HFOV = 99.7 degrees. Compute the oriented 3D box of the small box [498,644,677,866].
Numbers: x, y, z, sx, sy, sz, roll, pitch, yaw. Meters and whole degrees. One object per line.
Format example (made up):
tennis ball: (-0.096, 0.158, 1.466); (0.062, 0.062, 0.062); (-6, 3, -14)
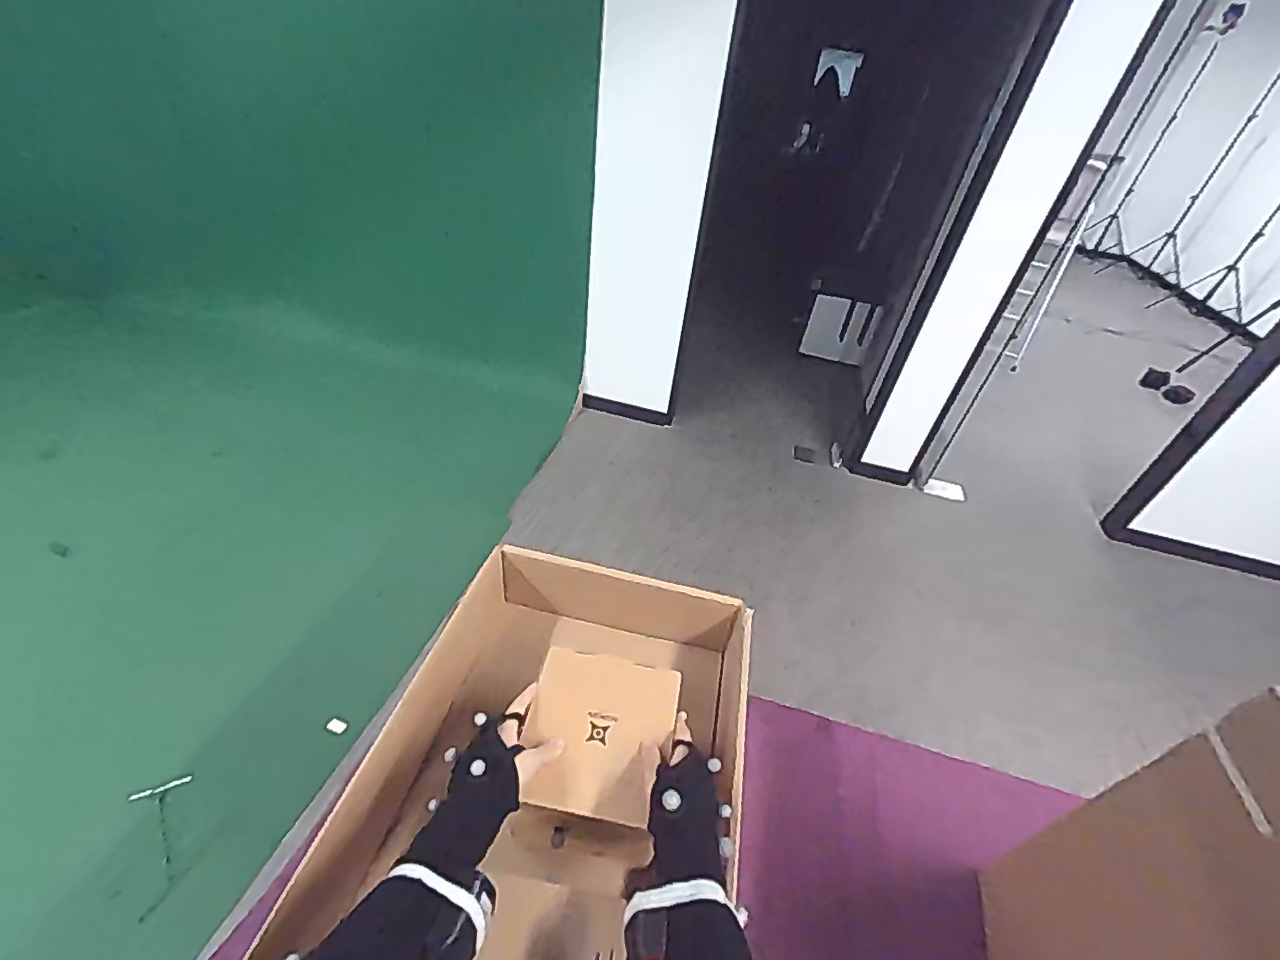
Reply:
small box: (-0.054, 0.332, 0.653); (0.168, 0.176, 0.179); (10, 41, 5)
